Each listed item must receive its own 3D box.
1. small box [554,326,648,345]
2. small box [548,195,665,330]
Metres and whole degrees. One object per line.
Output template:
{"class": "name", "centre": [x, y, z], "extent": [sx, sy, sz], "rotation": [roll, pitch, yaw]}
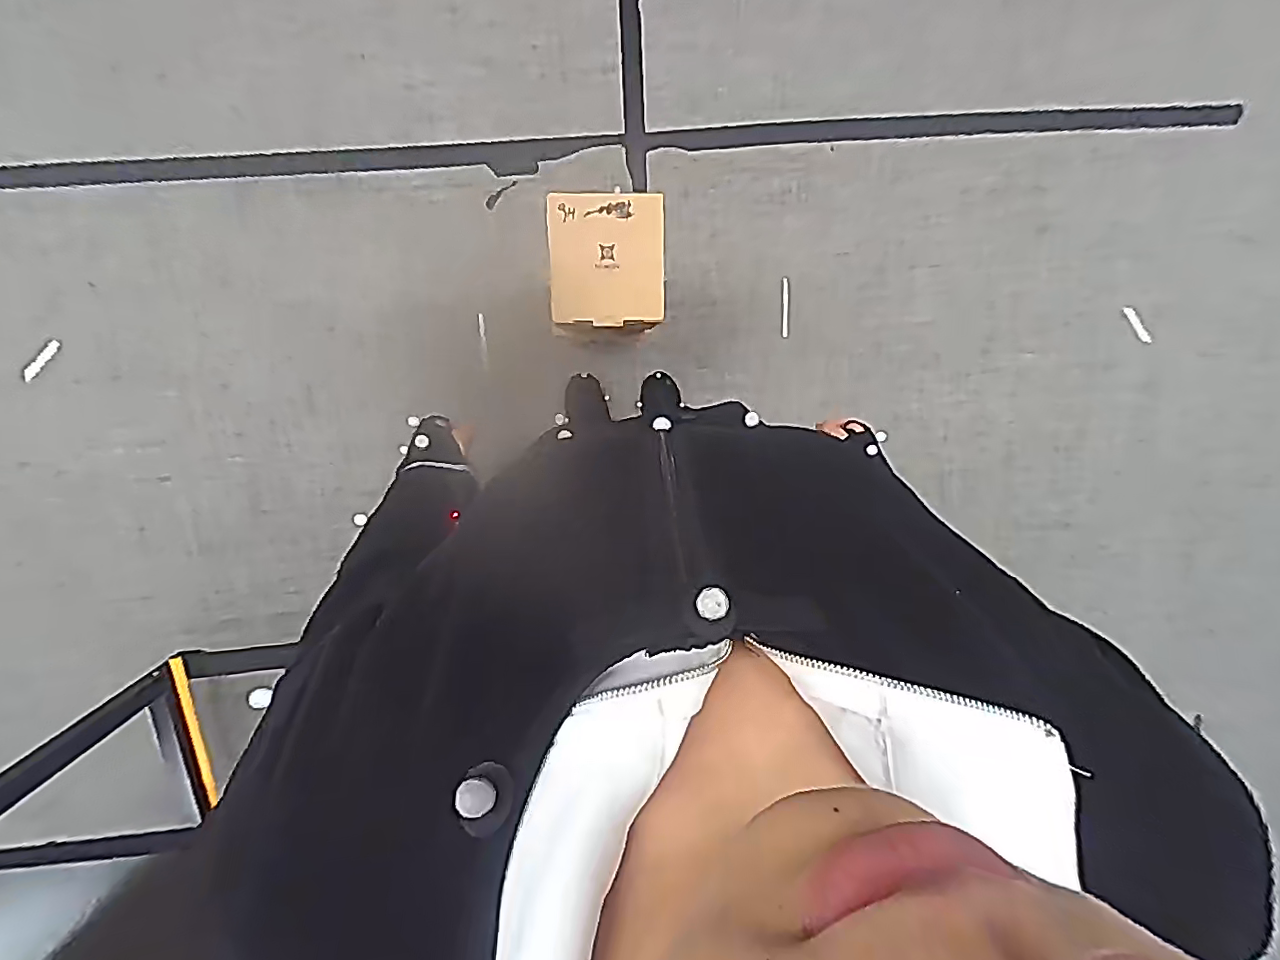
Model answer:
{"class": "small box", "centre": [-0.070, -0.347, 1.004], "extent": [0.168, 0.176, 0.179], "rotation": [2, 103, -4]}
{"class": "small box", "centre": [-0.050, -0.326, 0.842], "extent": [0.168, 0.176, 0.179], "rotation": [-1, 103, -3]}
